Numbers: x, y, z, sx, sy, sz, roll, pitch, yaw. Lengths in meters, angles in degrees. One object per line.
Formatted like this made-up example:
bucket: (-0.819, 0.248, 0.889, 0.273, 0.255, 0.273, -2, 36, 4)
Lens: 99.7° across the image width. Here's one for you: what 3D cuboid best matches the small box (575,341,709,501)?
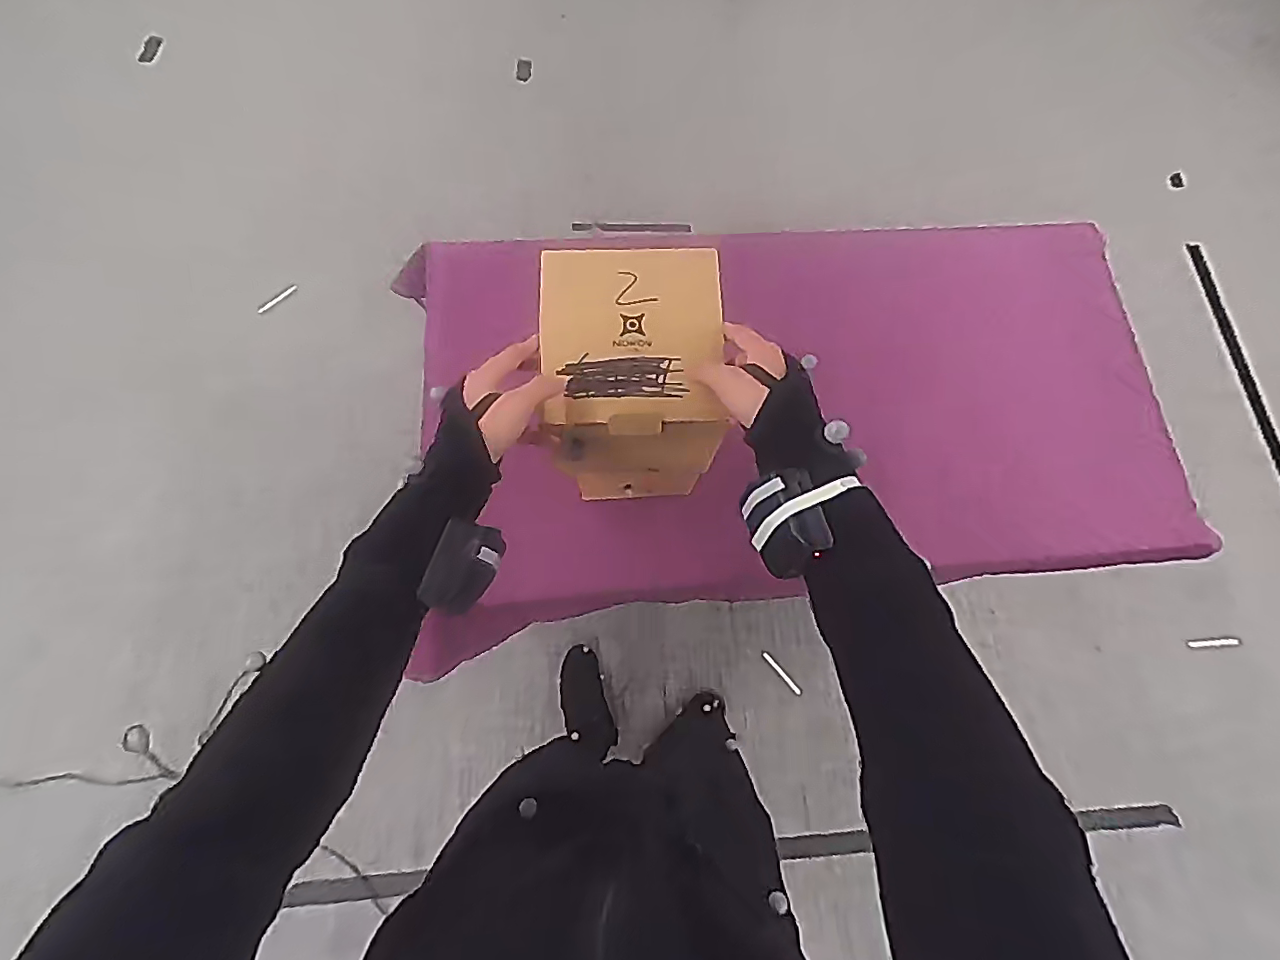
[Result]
small box: (-0.006, -0.077, 0.765, 0.168, 0.176, 0.179, -3, 75, -5)
